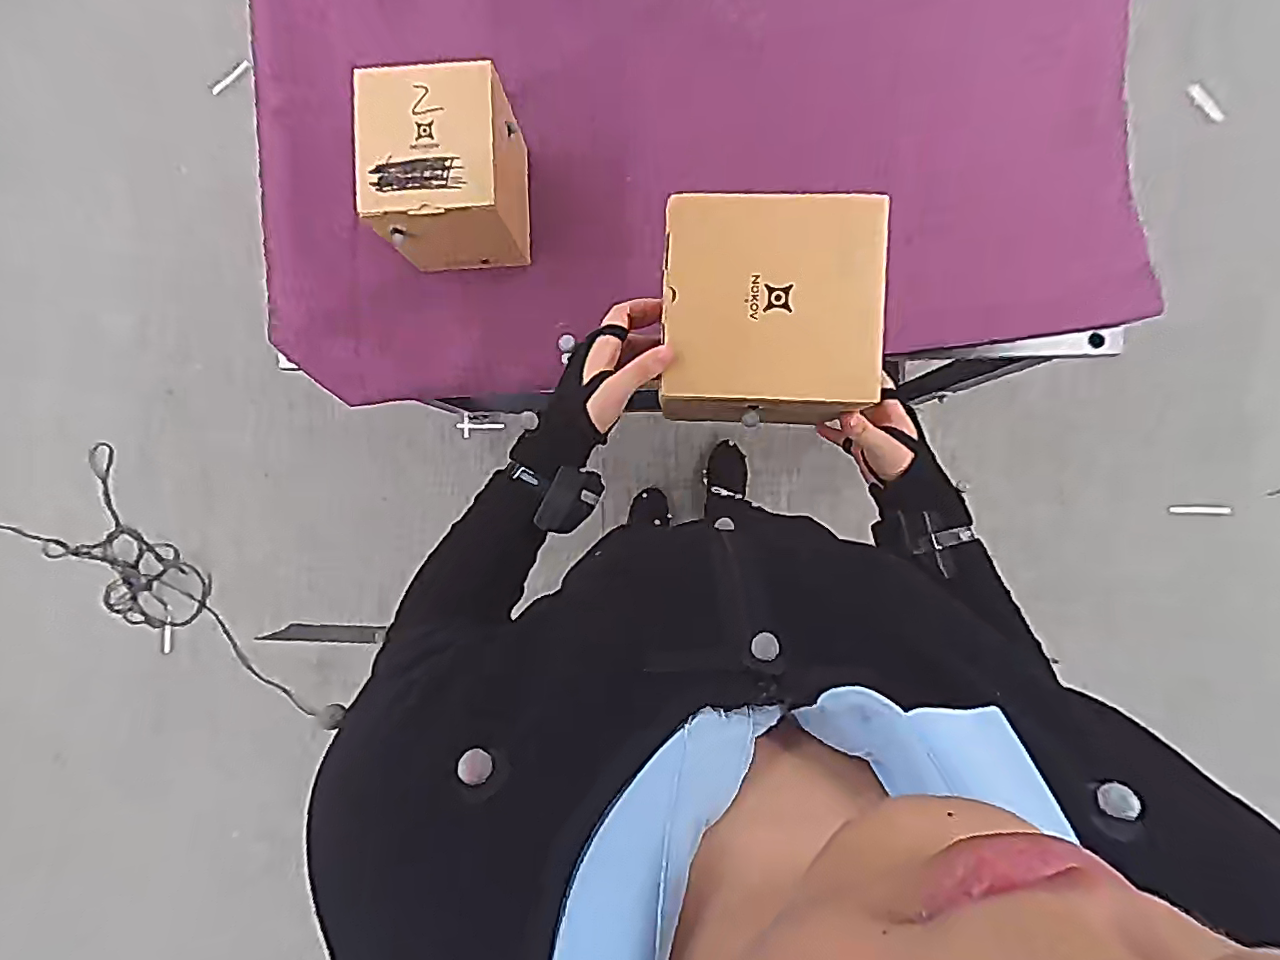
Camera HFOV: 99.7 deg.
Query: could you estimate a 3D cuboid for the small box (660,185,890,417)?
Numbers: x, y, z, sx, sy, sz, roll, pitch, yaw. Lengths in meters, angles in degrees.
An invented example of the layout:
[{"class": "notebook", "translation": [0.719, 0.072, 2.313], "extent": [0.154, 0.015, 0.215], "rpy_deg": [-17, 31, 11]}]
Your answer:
[{"class": "small box", "translation": [0.112, -0.151, 0.507], "extent": [0.179, 0.176, 0.168], "rpy_deg": [2, 90, 5]}]
